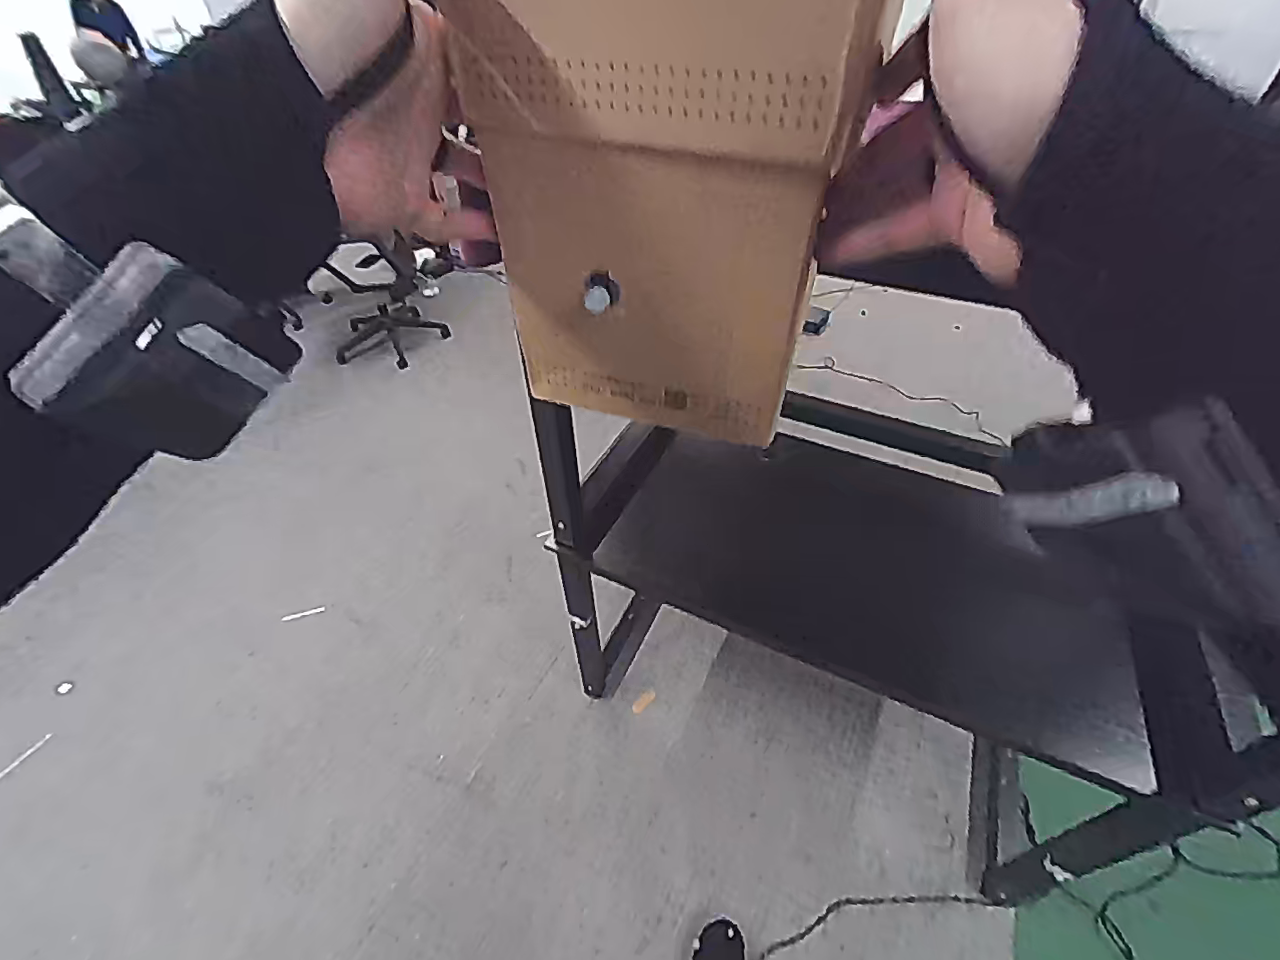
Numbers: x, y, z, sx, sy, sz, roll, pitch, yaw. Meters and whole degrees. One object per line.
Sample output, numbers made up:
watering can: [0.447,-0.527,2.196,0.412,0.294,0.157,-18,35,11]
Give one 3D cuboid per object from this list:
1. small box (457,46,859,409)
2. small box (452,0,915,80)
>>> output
small box: [0.026,-0.168,0.327,0.168,0.176,0.179,15,51,14]
small box: [0.026,-0.265,0.194,0.179,0.176,0.168,17,52,16]
